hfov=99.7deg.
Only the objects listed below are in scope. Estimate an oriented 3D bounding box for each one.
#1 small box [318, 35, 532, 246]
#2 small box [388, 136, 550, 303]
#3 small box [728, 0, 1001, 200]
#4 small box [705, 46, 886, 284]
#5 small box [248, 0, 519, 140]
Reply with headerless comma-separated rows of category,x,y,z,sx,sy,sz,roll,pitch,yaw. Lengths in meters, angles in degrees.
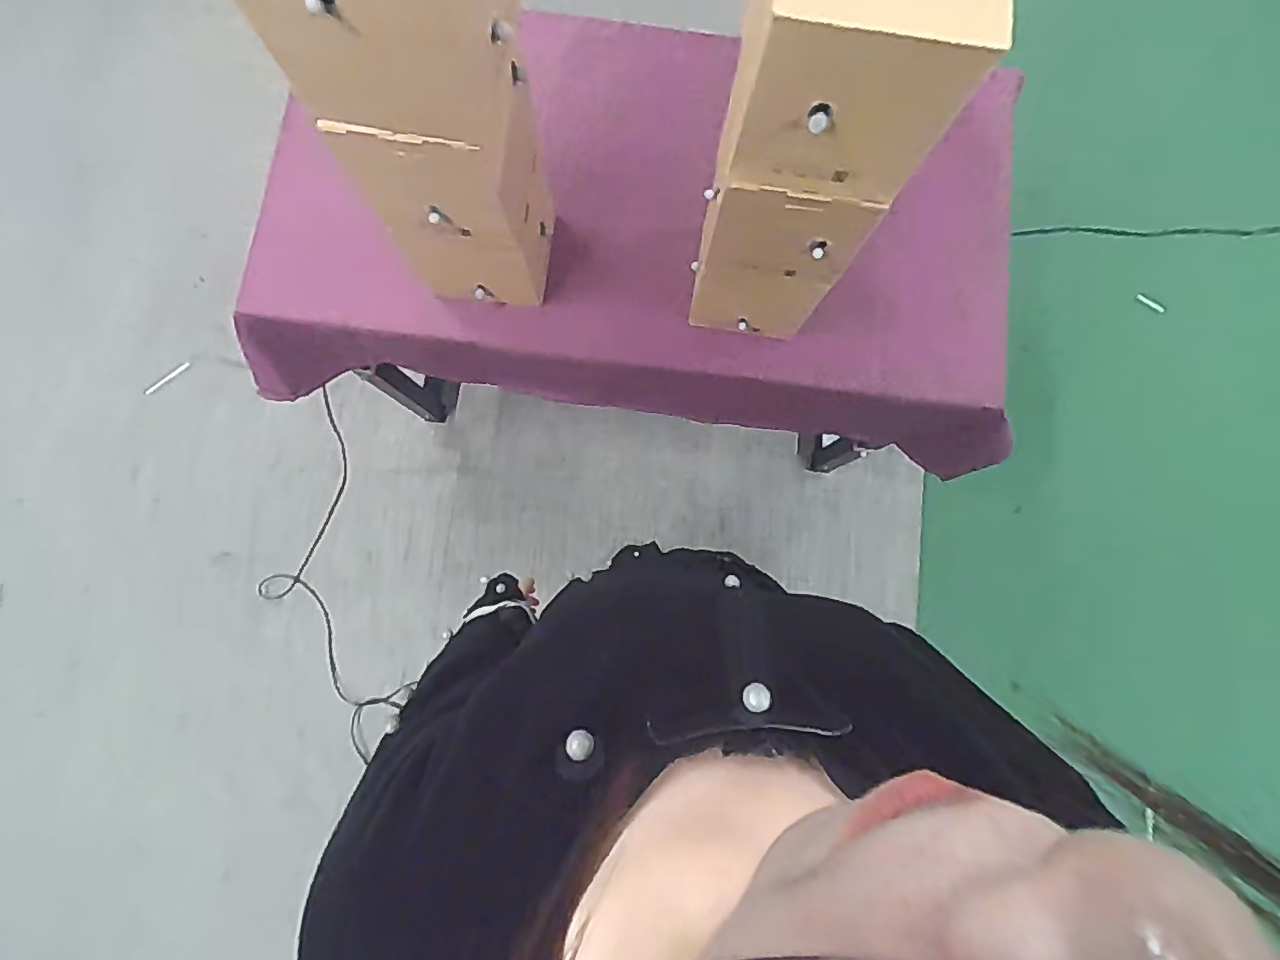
small box,-0.226,-0.403,0.619,0.168,0.176,0.179,7,82,0
small box,-0.232,-0.374,0.782,0.179,0.176,0.168,6,81,-1
small box,0.176,-0.374,0.463,0.168,0.176,0.179,8,81,-1
small box,0.172,-0.350,0.624,0.168,0.176,0.179,8,81,-1
small box,-0.216,-0.427,0.457,0.179,0.176,0.168,9,81,-1
